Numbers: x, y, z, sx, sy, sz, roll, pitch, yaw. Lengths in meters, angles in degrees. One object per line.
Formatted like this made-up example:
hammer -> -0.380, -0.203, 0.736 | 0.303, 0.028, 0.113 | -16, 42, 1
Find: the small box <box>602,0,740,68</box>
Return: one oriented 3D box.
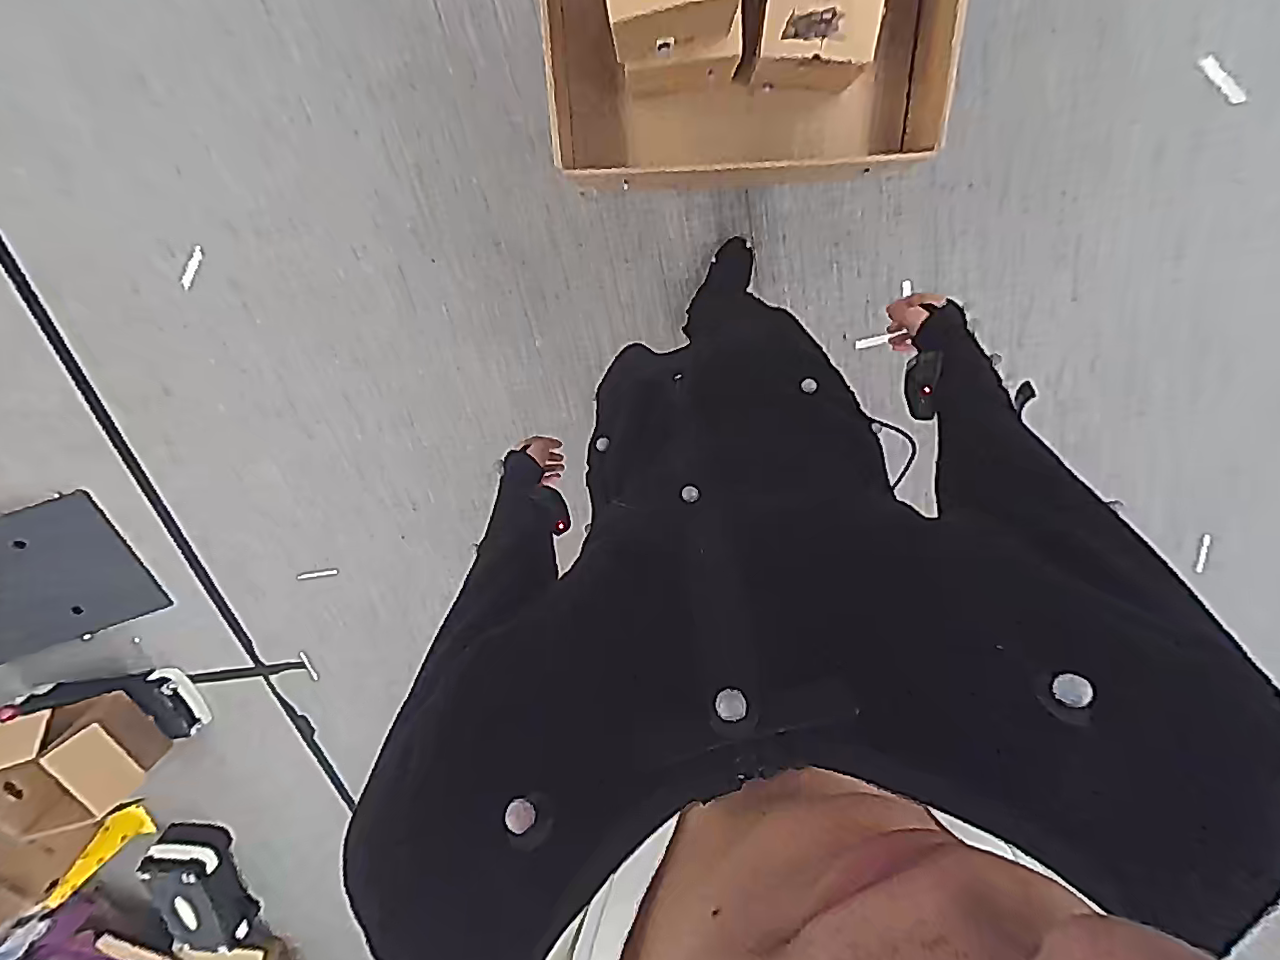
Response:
small box -> 0.026, -0.664, 0.682 | 0.168, 0.176, 0.179 | -9, 112, 6
